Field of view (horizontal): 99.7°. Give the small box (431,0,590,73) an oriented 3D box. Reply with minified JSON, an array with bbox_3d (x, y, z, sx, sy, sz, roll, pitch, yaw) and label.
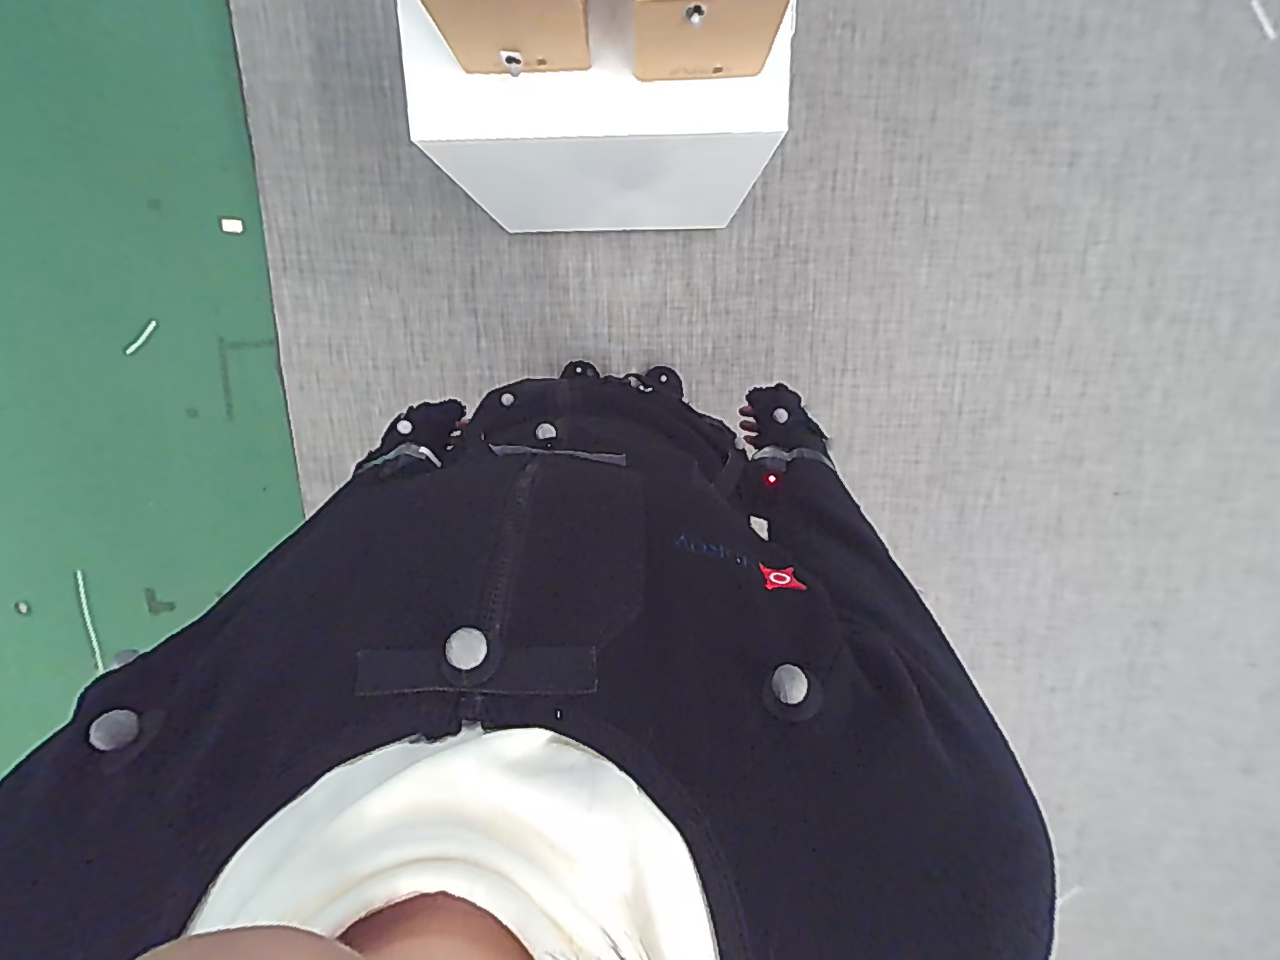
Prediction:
[{"bbox_3d":[-0.149,-0.599,0.605,0.168,0.176,0.179,-3,103,2],"label":"small box"}]

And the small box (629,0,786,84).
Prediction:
[{"bbox_3d":[0.070,-0.595,0.618,0.168,0.176,0.179,-1,101,0],"label":"small box"}]
